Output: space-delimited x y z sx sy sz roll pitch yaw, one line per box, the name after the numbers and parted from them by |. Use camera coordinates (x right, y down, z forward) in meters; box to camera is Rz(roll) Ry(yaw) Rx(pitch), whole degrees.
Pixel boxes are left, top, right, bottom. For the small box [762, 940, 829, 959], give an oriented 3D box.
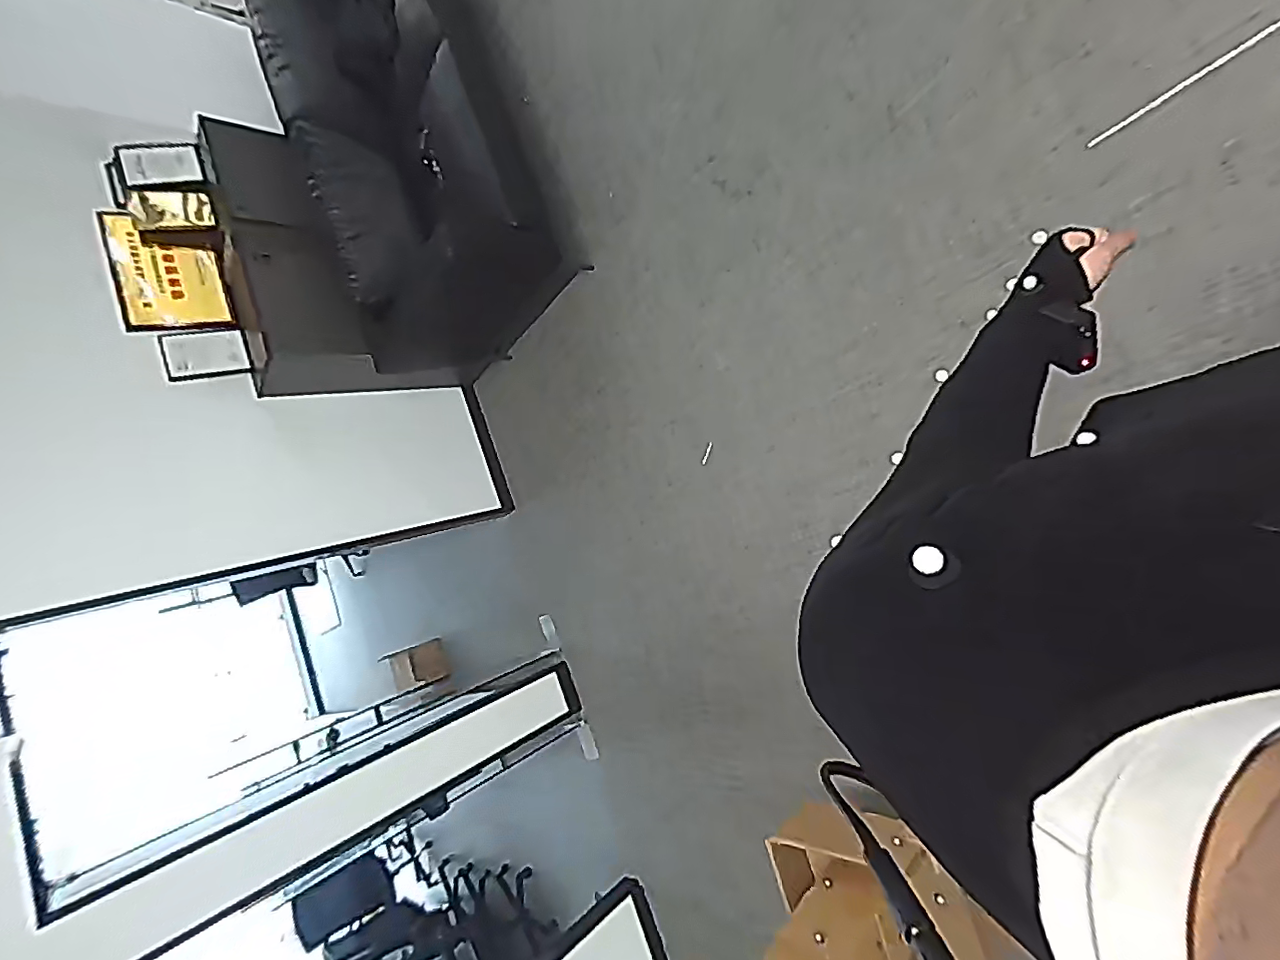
0.334 1.114 1.119 0.179 0.176 0.168 -20 85 46 | small box

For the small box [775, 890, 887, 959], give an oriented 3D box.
0.446 1.088 1.234 0.179 0.176 0.168 -22 83 47 | small box

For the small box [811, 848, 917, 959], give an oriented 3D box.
0.564 1.062 1.346 0.179 0.176 0.168 -21 84 47 | small box
